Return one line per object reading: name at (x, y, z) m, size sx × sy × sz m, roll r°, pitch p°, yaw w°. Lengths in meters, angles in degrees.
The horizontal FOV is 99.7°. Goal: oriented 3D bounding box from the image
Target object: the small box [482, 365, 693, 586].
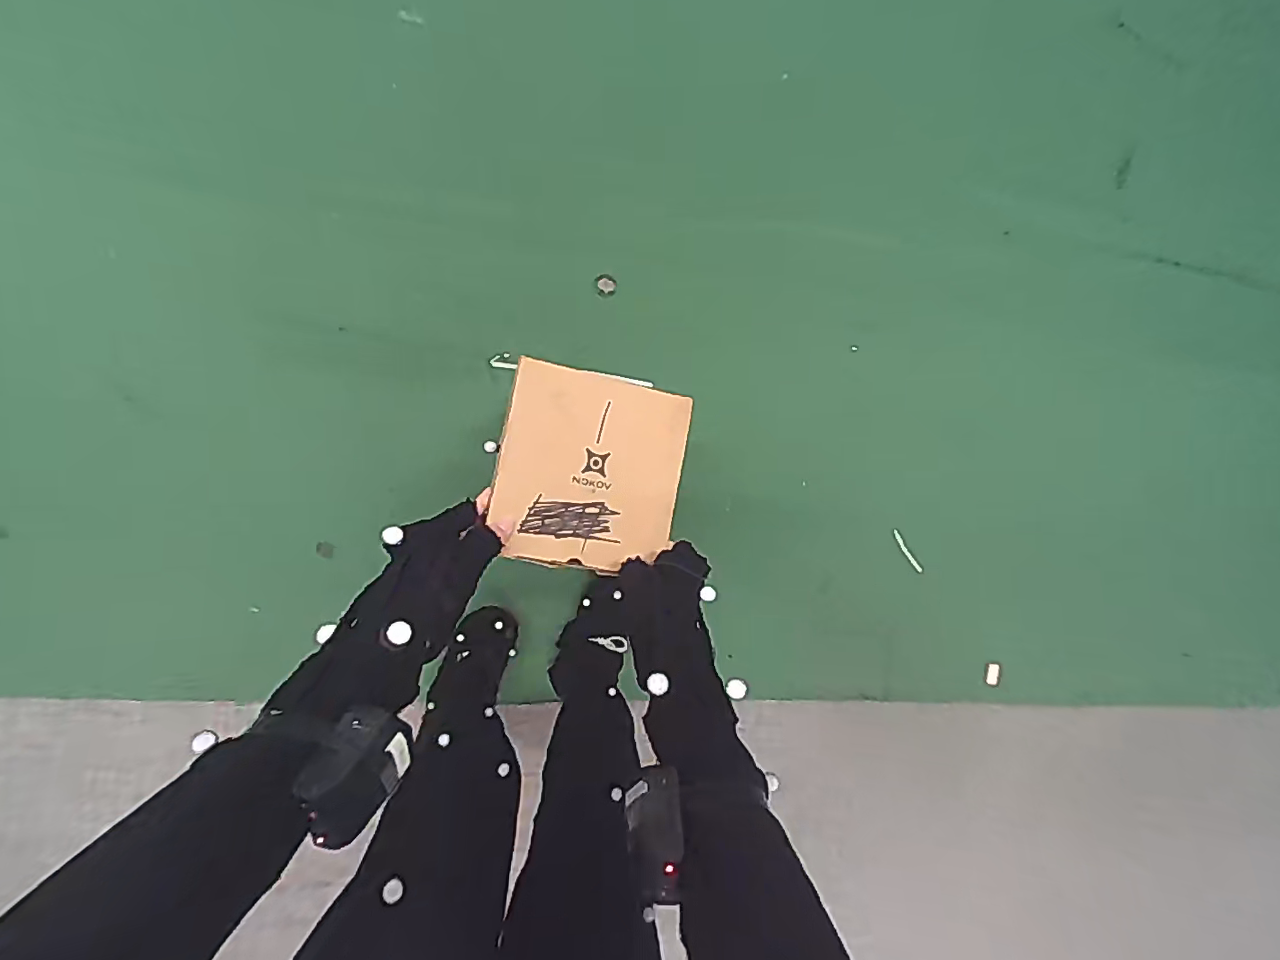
small box at (-0.063, 0.001, 0.565) m, size 0.168 × 0.176 × 0.179 m, roll 11°, pitch 85°, yaw -15°
